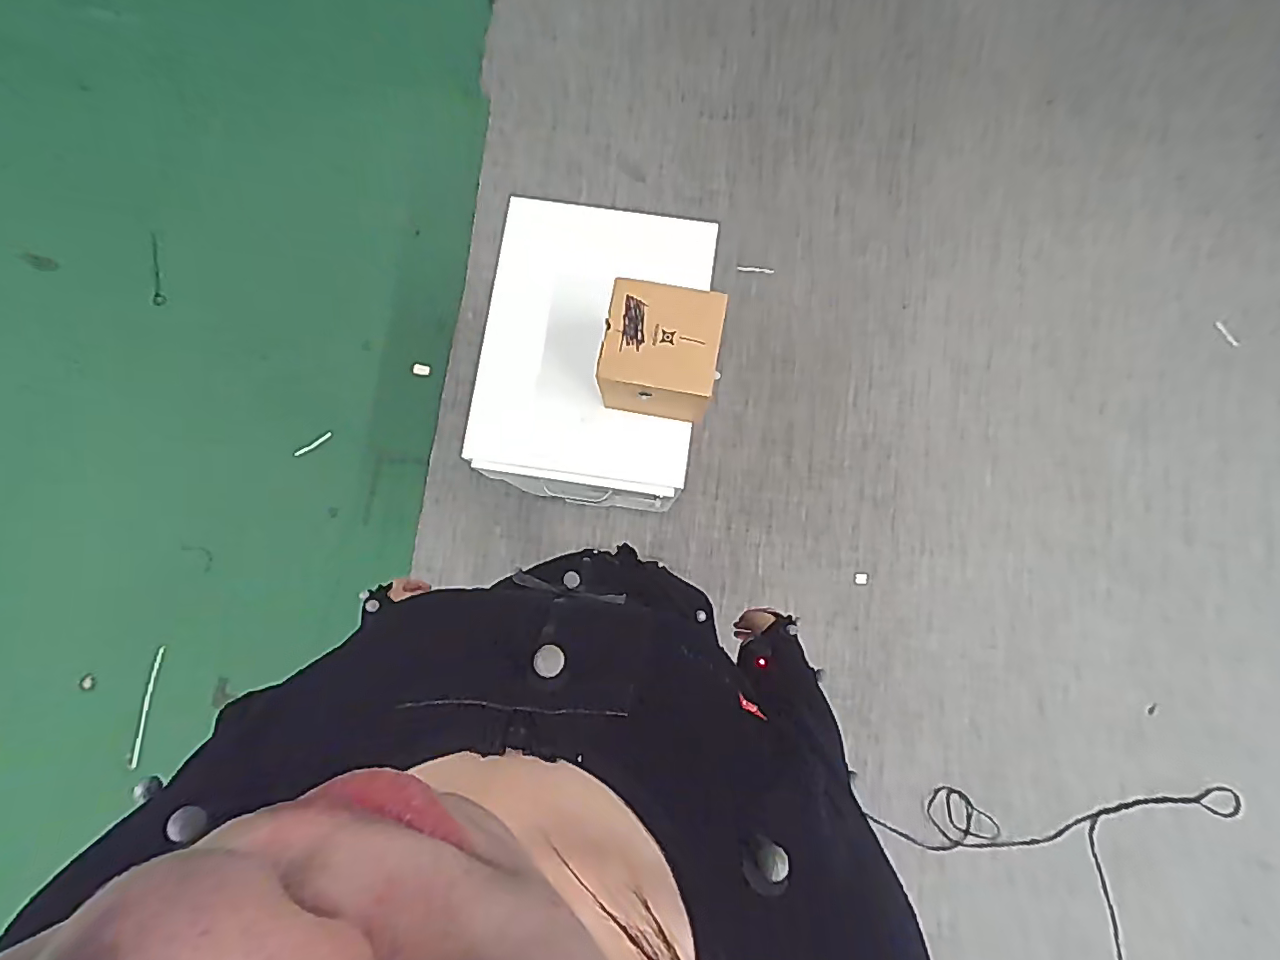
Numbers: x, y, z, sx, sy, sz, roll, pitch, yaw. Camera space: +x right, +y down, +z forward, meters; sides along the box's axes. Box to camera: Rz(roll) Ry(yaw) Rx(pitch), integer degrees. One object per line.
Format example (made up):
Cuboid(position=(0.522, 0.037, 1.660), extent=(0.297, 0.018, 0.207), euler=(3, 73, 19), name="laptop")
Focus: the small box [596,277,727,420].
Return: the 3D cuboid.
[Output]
Cuboid(position=(0.034, -0.208, 0.895), extent=(0.179, 0.176, 0.168), euler=(10, 82, 1), name="small box")
